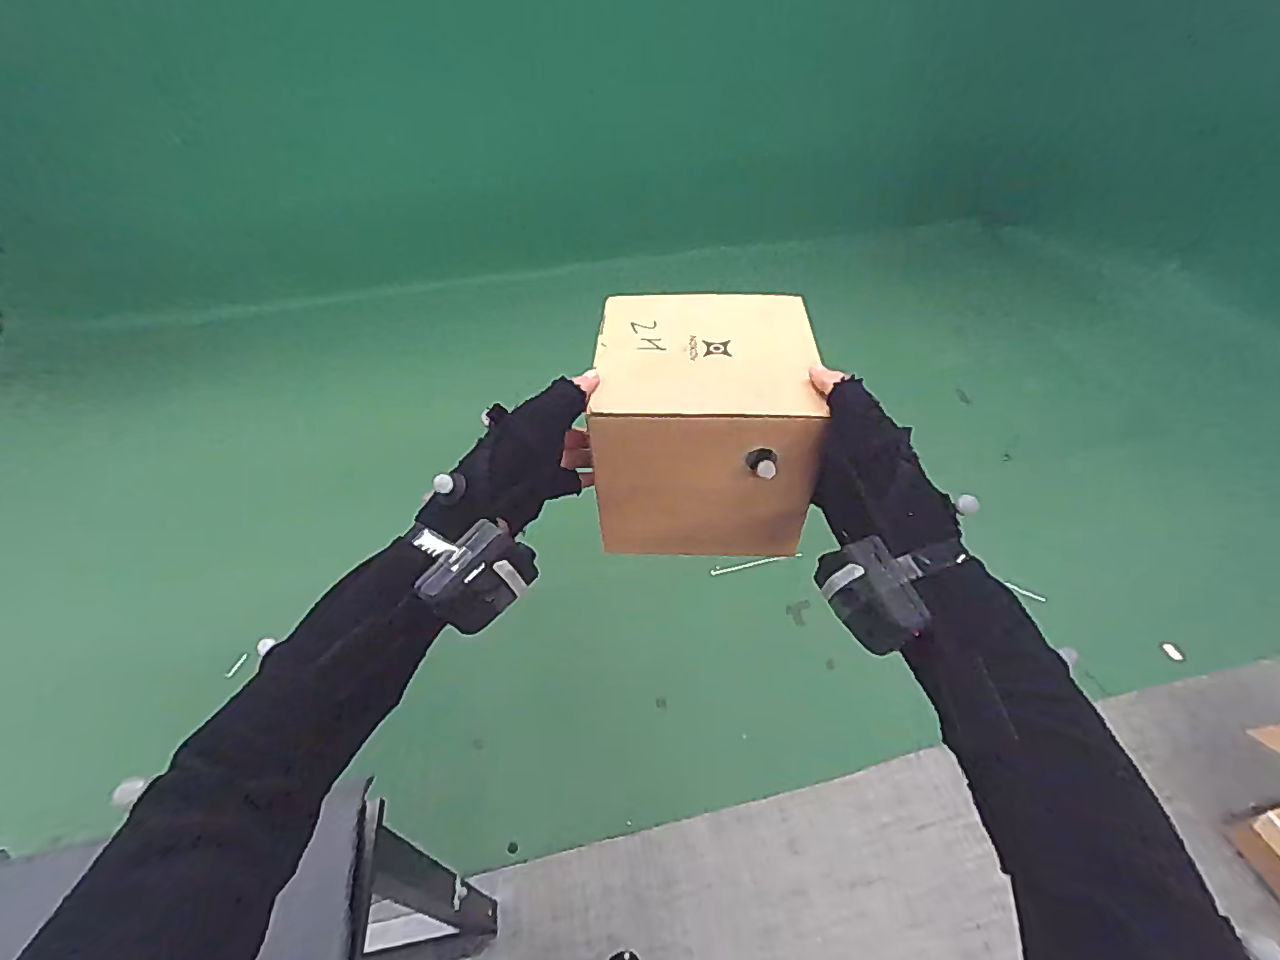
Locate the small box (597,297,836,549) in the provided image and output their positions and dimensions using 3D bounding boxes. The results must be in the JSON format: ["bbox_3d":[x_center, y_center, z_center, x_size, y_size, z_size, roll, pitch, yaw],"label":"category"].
[{"bbox_3d":[0.060,-0.050,0.501,0.179,0.176,0.168,2,46,3],"label":"small box"}]
